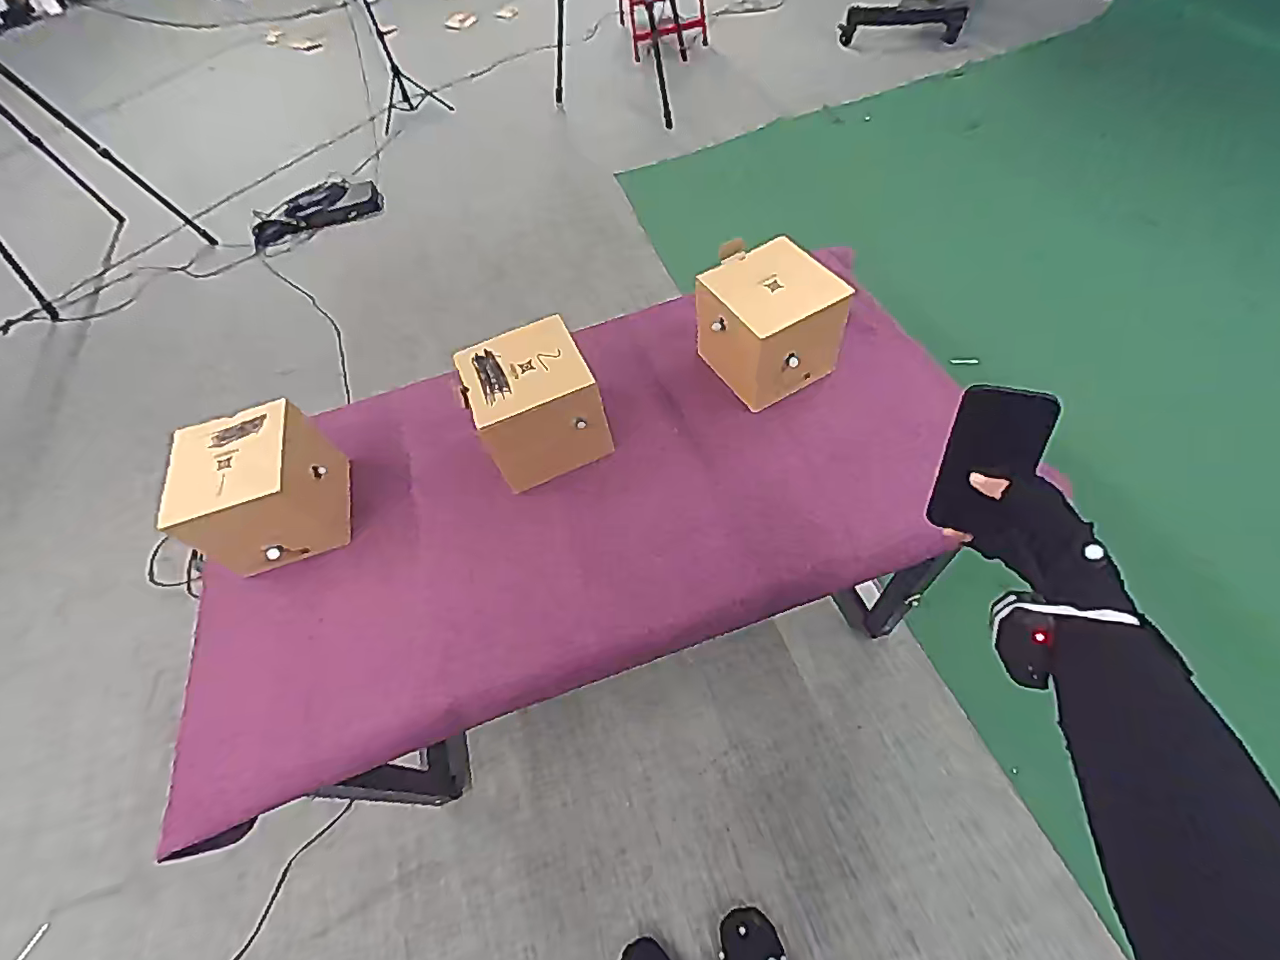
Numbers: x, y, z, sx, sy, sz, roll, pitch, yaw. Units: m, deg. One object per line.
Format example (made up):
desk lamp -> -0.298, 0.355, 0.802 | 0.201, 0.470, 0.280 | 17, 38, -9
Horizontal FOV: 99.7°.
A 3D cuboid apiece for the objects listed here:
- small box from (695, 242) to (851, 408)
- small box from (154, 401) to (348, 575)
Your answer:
small box -> 0.206, -0.240, 0.872 | 0.168, 0.176, 0.179 | -28, 57, -9
small box -> -0.565, 0.016, 0.813 | 0.168, 0.176, 0.179 | -18, 58, -4
